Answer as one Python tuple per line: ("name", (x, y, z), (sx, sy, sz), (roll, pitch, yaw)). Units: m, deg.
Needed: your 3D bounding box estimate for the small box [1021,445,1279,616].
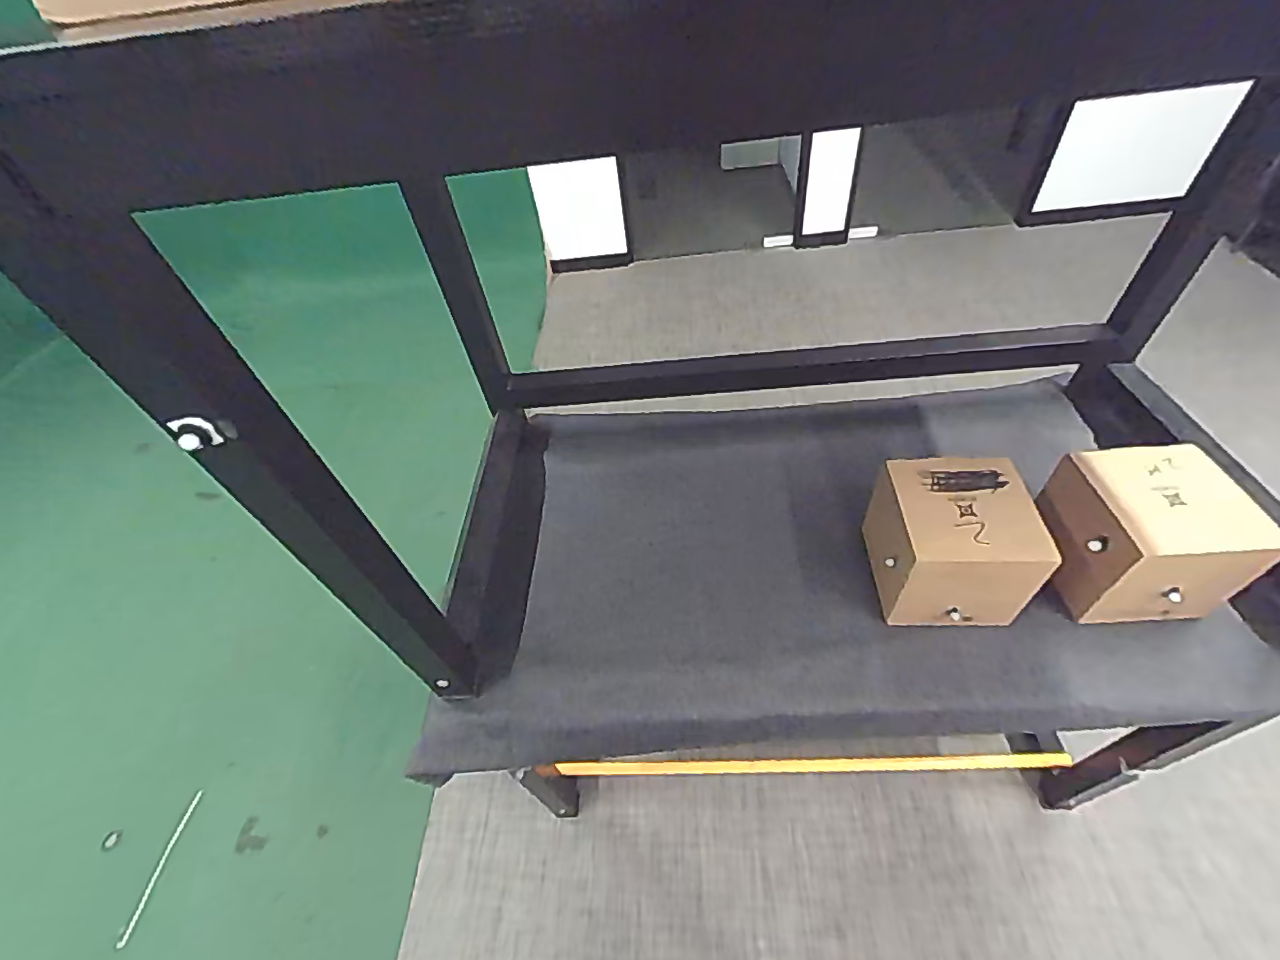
("small box", (0.675, 0.075, 0.743), (0.168, 0.176, 0.179), (-4, 47, 5))
